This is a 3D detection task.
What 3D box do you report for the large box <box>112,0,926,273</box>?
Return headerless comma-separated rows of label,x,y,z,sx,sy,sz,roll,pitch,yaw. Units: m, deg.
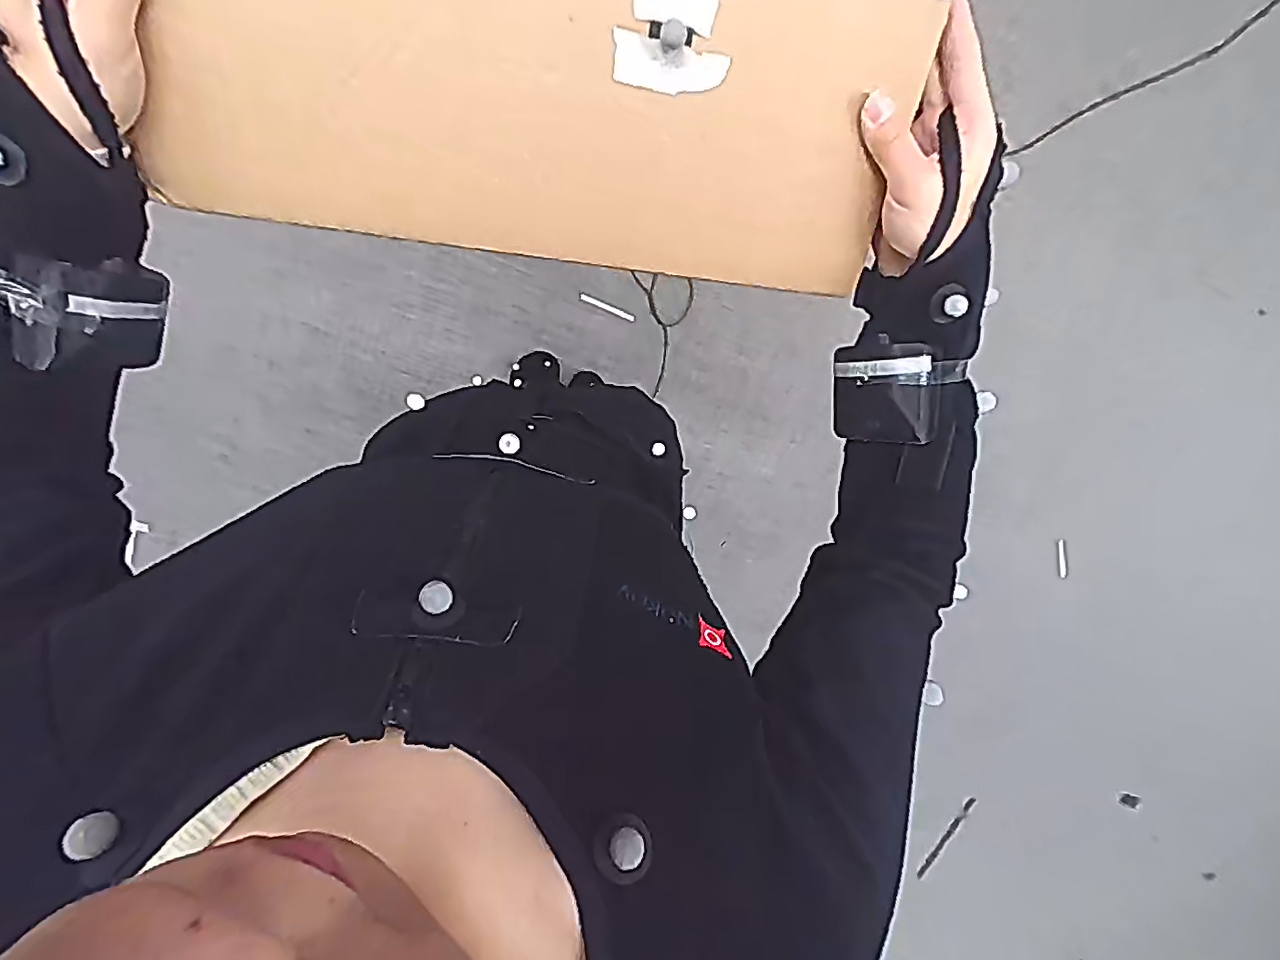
large box,-0.059,-0.351,0.374,0.408,0.320,0.320,4,122,-8
